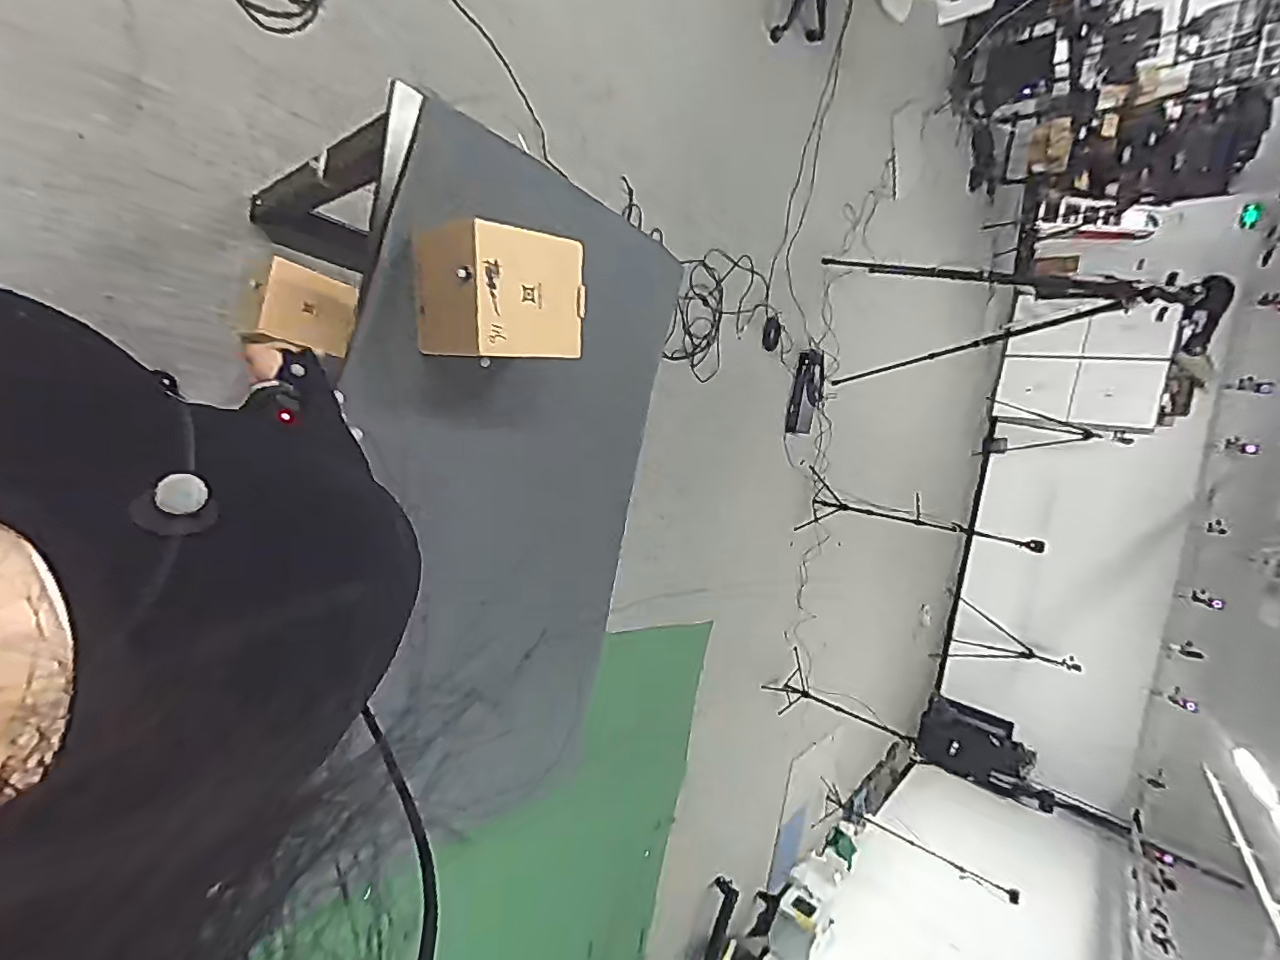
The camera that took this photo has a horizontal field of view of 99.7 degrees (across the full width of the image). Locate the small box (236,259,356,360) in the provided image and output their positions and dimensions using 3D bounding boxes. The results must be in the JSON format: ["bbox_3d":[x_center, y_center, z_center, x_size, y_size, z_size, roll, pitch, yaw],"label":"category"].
[{"bbox_3d":[-0.784,-0.375,1.227,0.179,0.176,0.168,13,89,-51],"label":"small box"}]

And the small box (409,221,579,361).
[{"bbox_3d":[-0.210,-0.262,0.787,0.179,0.176,0.168,-12,108,-47],"label":"small box"}]
